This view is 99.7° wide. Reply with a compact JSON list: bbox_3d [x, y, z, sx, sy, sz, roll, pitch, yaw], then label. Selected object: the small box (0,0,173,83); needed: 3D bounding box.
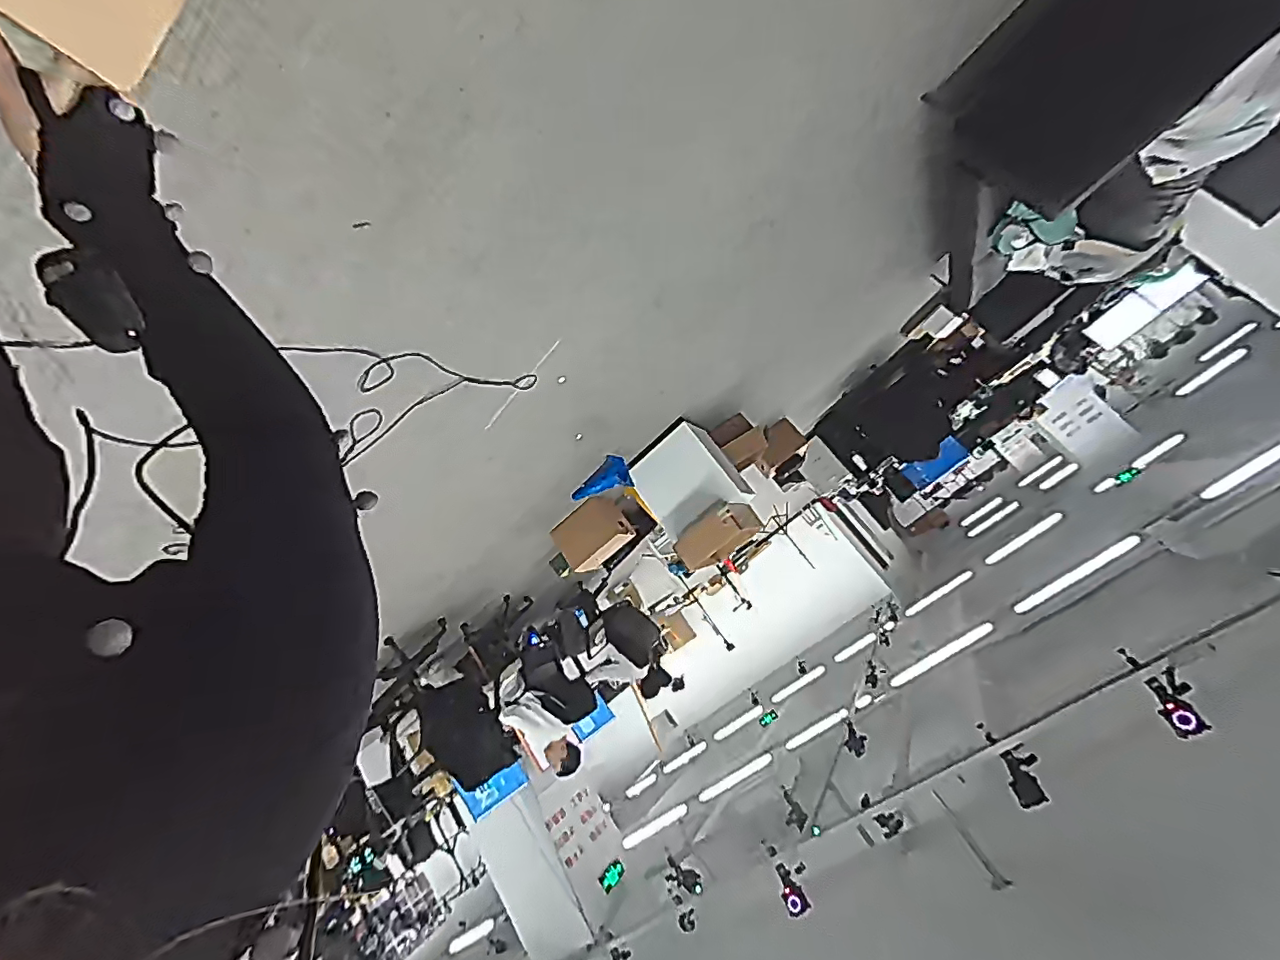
[{"bbox_3d":[-0.332,-0.348,0.250,0.179,0.176,0.168,-56,161,3],"label":"small box"}]
